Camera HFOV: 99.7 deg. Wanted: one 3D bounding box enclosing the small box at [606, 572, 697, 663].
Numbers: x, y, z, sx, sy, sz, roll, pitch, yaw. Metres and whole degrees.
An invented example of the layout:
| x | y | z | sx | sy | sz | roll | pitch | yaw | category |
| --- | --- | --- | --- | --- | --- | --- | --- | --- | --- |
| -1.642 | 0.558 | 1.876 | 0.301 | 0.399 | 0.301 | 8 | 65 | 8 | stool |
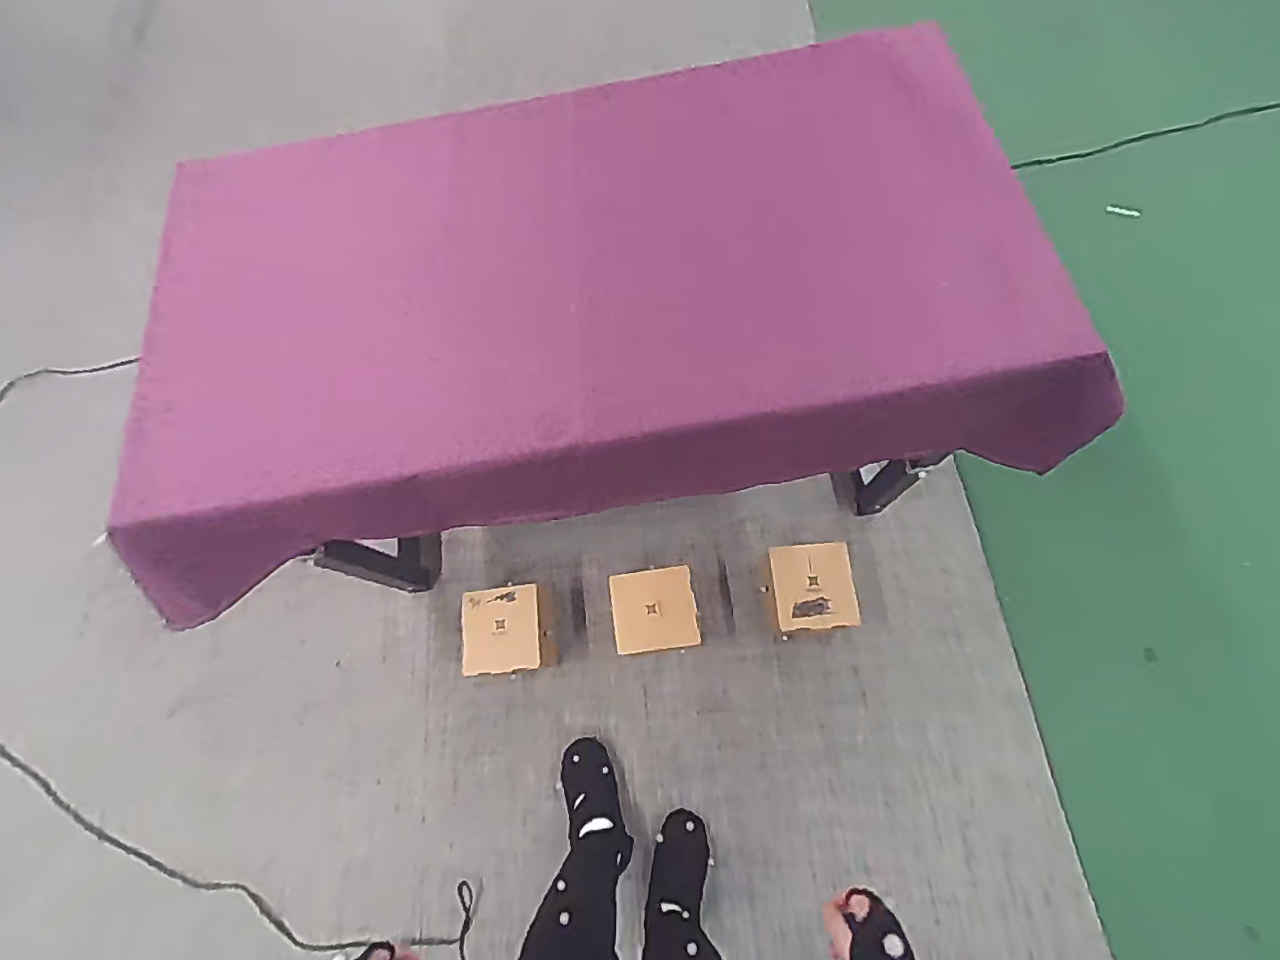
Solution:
| x | y | z | sx | sy | sz | roll | pitch | yaw | category |
| --- | --- | --- | --- | --- | --- | --- | --- | --- | --- |
| 0.029 | 0.312 | 1.208 | 0.179 | 0.176 | 0.168 | -9 | 70 | 1 | small box |

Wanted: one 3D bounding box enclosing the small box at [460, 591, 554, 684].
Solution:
| x | y | z | sx | sy | sz | roll | pitch | yaw | category |
| --- | --- | --- | --- | --- | --- | --- | --- | --- | --- |
| -0.294 | 0.354 | 1.218 | 0.168 | 0.176 | 0.179 | -7 | 71 | 0 | small box |
